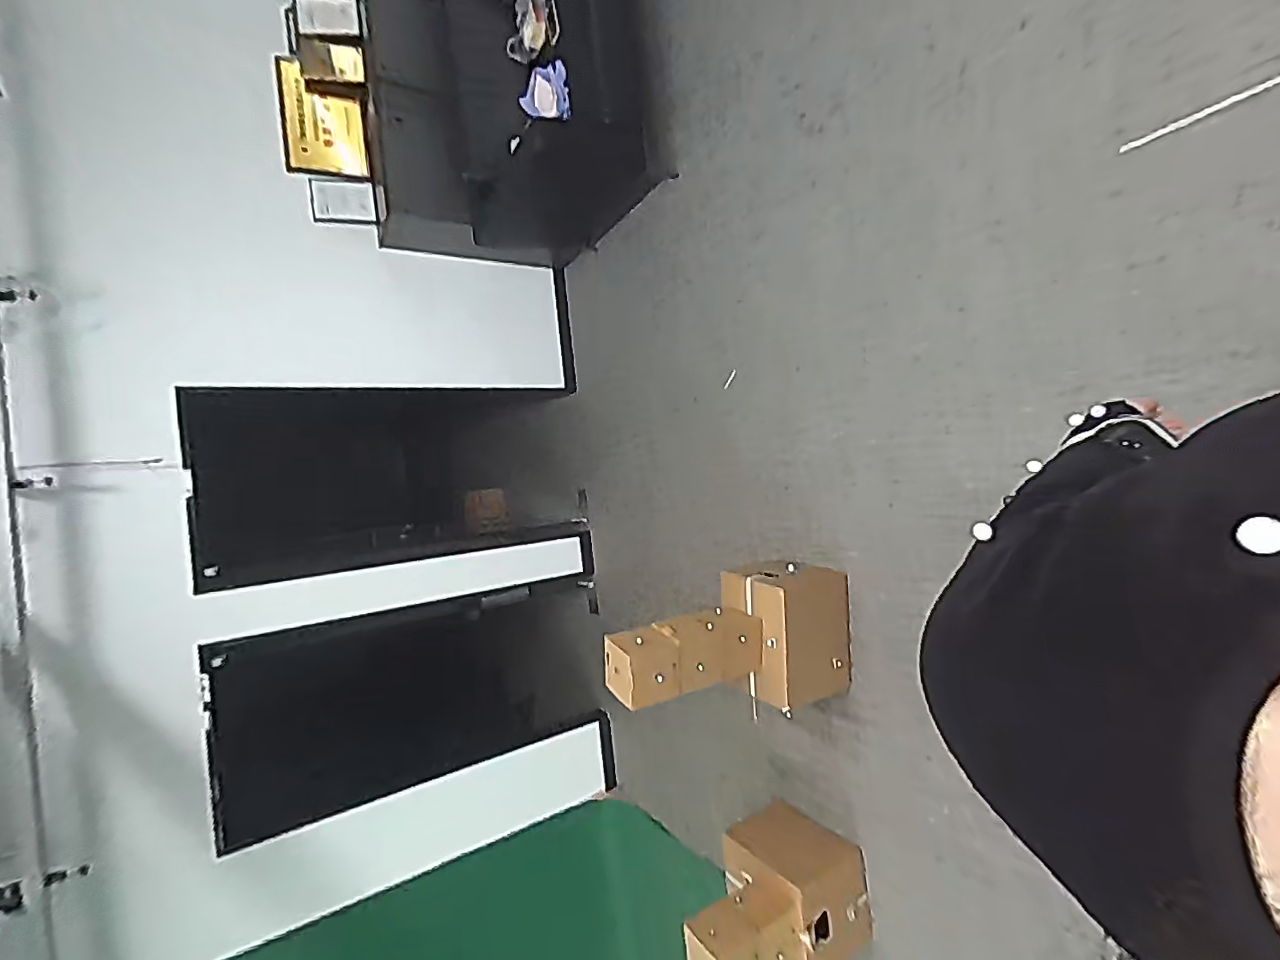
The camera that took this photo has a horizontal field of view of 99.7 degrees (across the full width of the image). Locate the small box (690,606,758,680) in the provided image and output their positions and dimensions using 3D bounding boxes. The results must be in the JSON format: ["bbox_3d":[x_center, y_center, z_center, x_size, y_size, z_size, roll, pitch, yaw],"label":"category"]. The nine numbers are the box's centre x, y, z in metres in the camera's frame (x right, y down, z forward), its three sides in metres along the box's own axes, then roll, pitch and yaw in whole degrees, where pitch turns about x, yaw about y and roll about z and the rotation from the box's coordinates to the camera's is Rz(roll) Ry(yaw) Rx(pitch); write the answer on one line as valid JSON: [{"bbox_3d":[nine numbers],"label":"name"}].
[{"bbox_3d":[0.281,0.537,1.816,0.168,0.176,0.179,11,104,59],"label":"small box"}]

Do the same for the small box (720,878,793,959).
[{"bbox_3d":[0.387,1.470,1.783,0.179,0.176,0.168,-4,91,59],"label":"small box"}]

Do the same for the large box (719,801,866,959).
[{"bbox_3d":[0.550,1.468,1.984,0.408,0.320,0.320,-8,87,59],"label":"large box"}]

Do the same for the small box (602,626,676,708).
[{"bbox_3d":[-0.002,0.562,1.651,0.179,0.176,0.168,12,104,59],"label":"small box"}]

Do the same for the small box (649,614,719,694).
[{"bbox_3d":[0.141,0.547,1.730,0.168,0.176,0.179,14,107,59],"label":"small box"}]

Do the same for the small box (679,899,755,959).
[{"bbox_3d":[0.247,1.474,1.696,0.179,0.176,0.168,-4,90,59],"label":"small box"}]
